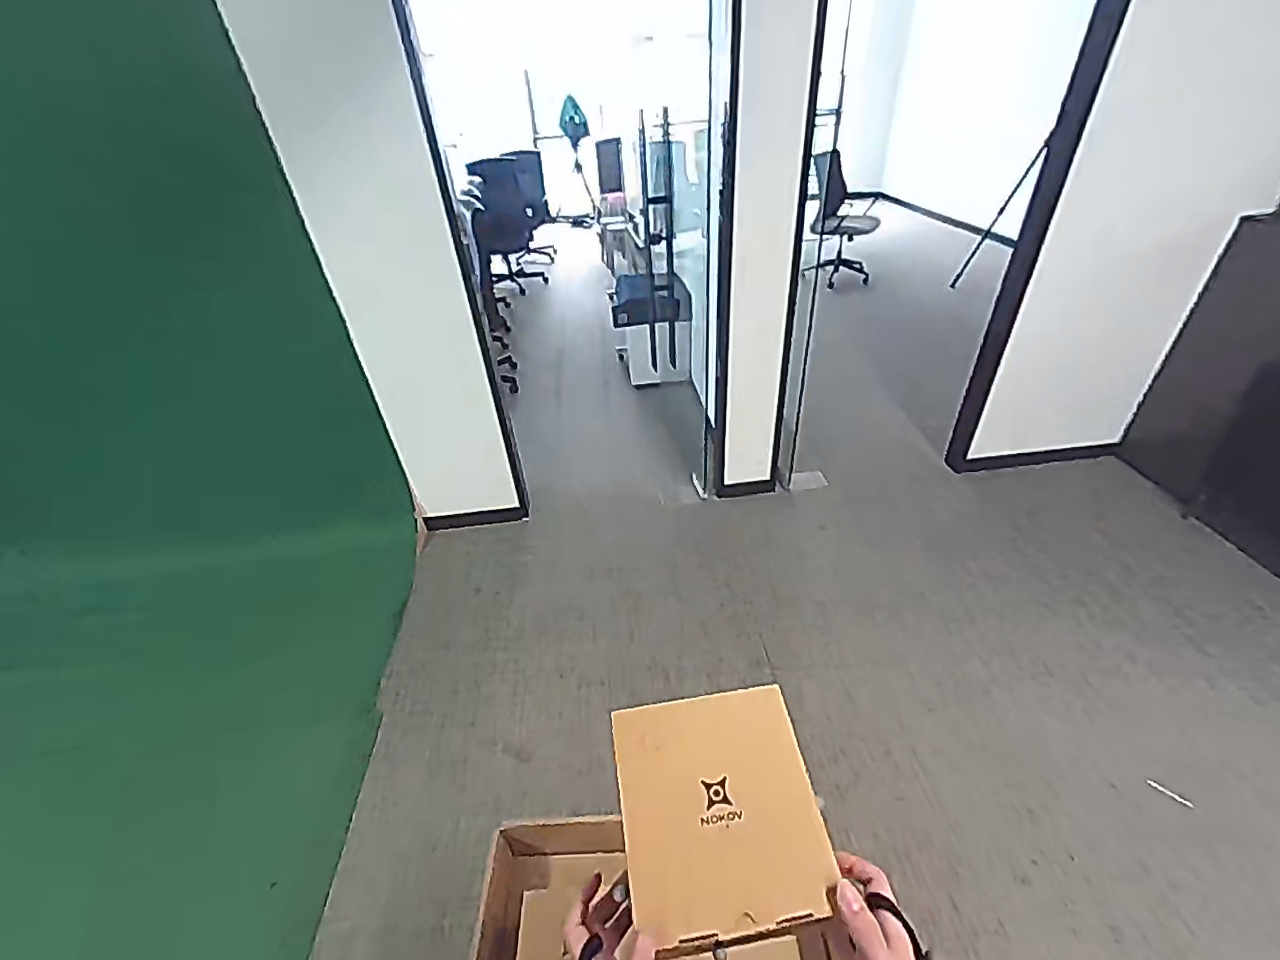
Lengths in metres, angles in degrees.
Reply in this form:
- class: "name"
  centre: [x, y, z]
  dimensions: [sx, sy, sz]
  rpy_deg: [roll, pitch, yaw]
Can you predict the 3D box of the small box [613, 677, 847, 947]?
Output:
- class: "small box"
  centre: [0.064, 0.314, 0.513]
  dimensions: [0.168, 0.176, 0.179]
  rpy_deg: [-7, 48, -5]
